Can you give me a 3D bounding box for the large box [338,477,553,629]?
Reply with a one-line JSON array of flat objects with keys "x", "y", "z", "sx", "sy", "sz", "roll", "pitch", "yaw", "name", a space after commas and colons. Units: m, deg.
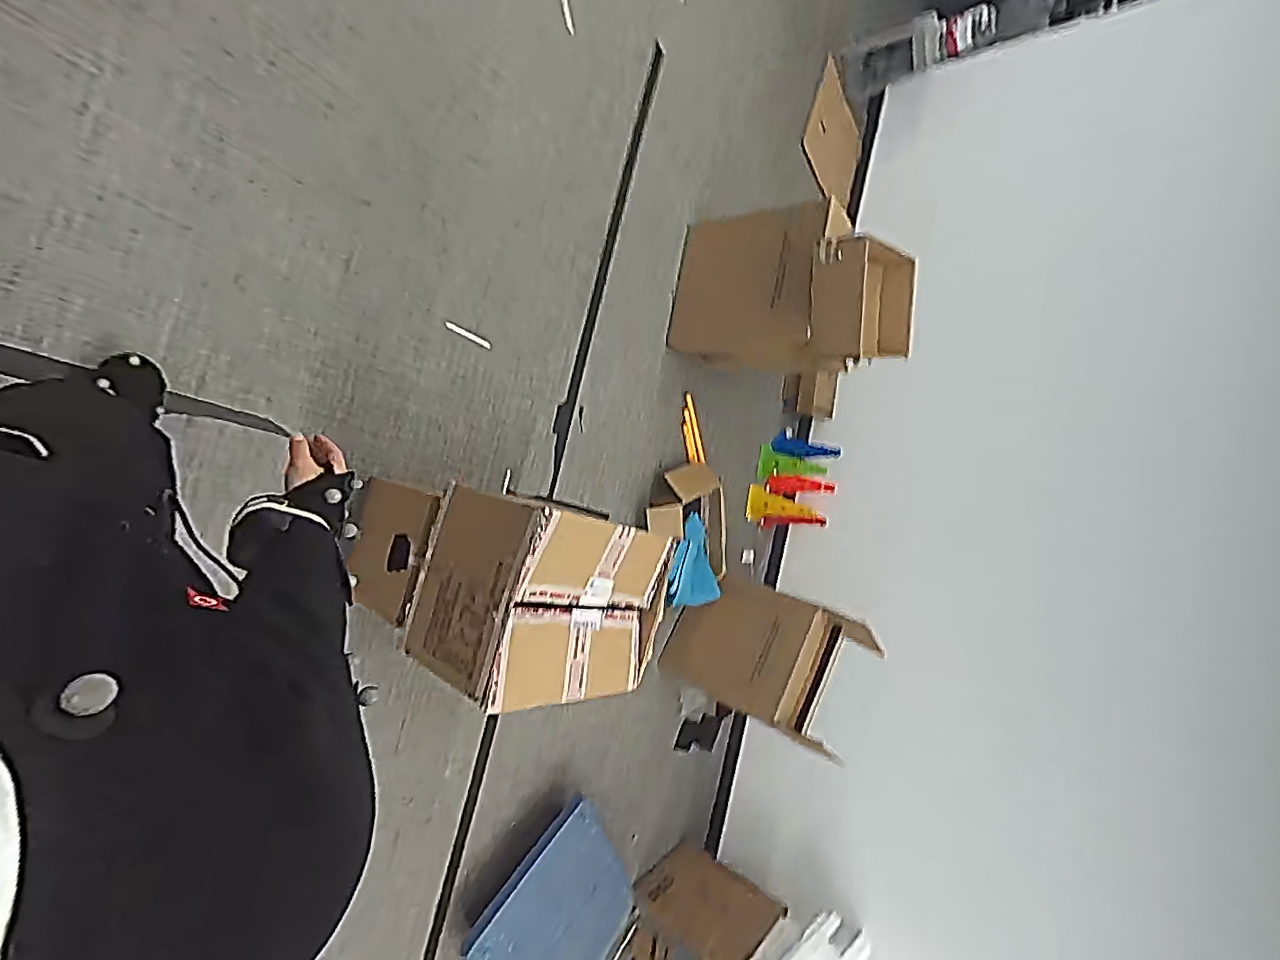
[{"x": -0.511, "y": 0.198, "z": 1.454, "sx": 0.408, "sy": 0.320, "sz": 0.320, "roll": 19, "pitch": 83, "yaw": -50, "name": "large box"}]
